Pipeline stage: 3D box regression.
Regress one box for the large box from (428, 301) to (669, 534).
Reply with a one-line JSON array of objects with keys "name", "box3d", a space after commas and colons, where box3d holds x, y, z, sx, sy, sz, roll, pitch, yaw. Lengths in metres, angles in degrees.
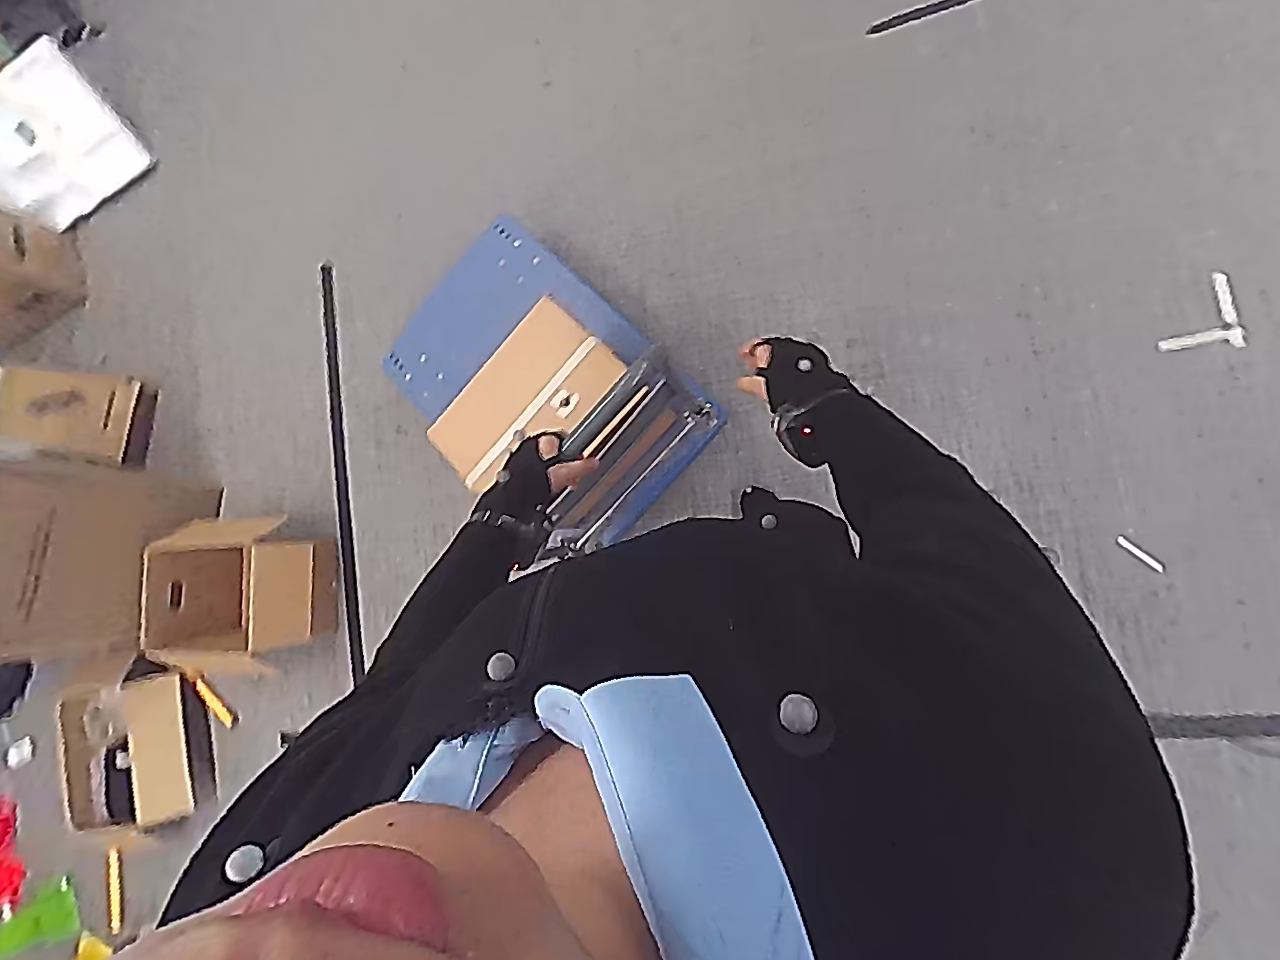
[{"name": "large box", "box3d": [-0.195, -0.120, 1.267, 0.320, 0.320, 0.408, 44, 97, 12]}]
